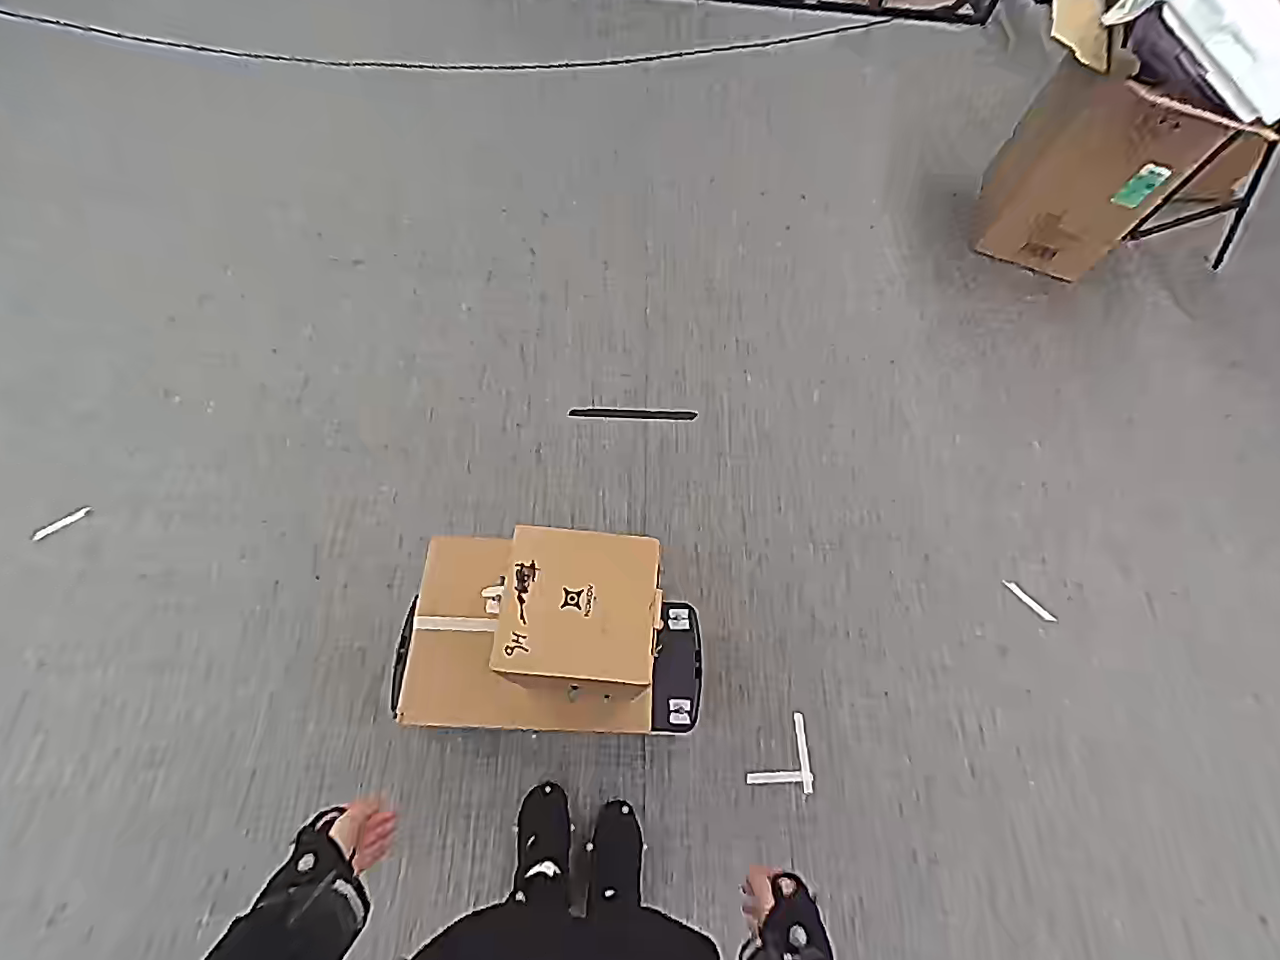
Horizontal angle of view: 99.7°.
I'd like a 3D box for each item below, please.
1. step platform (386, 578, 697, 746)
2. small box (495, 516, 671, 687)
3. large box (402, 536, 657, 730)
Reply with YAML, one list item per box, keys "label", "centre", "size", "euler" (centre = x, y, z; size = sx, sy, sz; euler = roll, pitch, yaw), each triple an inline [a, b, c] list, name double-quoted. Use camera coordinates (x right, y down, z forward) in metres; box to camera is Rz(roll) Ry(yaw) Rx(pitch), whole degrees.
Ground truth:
- label: "step platform"
  centre: [-0.209, 0.418, 1.252]
  size: [0.684, 0.204, 0.286]
  euler: [8, 65, 0]
- label: "small box"
  centre: [-0.065, 0.158, 0.669]
  size: [0.179, 0.176, 0.168]
  euler: [7, 65, -2]
- label: "large box"
  centre: [-0.175, 0.306, 1.044]
  size: [0.408, 0.320, 0.320]
  euler: [3, 65, -2]
